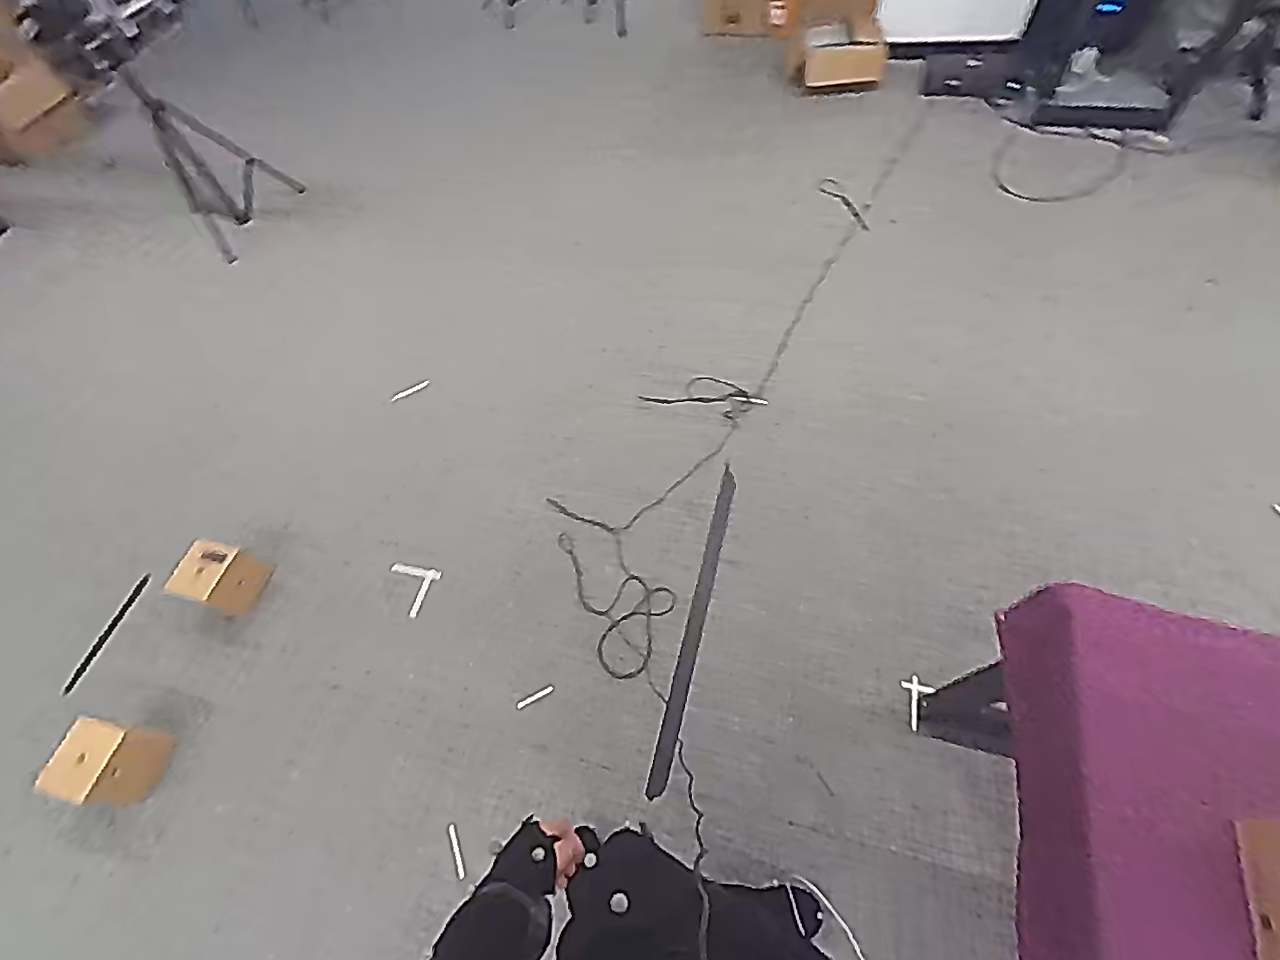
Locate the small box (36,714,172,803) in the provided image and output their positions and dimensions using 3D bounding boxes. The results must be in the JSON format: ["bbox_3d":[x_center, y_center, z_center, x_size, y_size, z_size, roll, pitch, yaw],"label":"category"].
[{"bbox_3d":[-1.446,0.761,1.479,0.168,0.176,0.179,10,63,12],"label":"small box"}]

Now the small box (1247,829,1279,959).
[{"bbox_3d":[0.775,0.469,0.538,0.179,0.176,0.168,14,63,14],"label":"small box"}]
